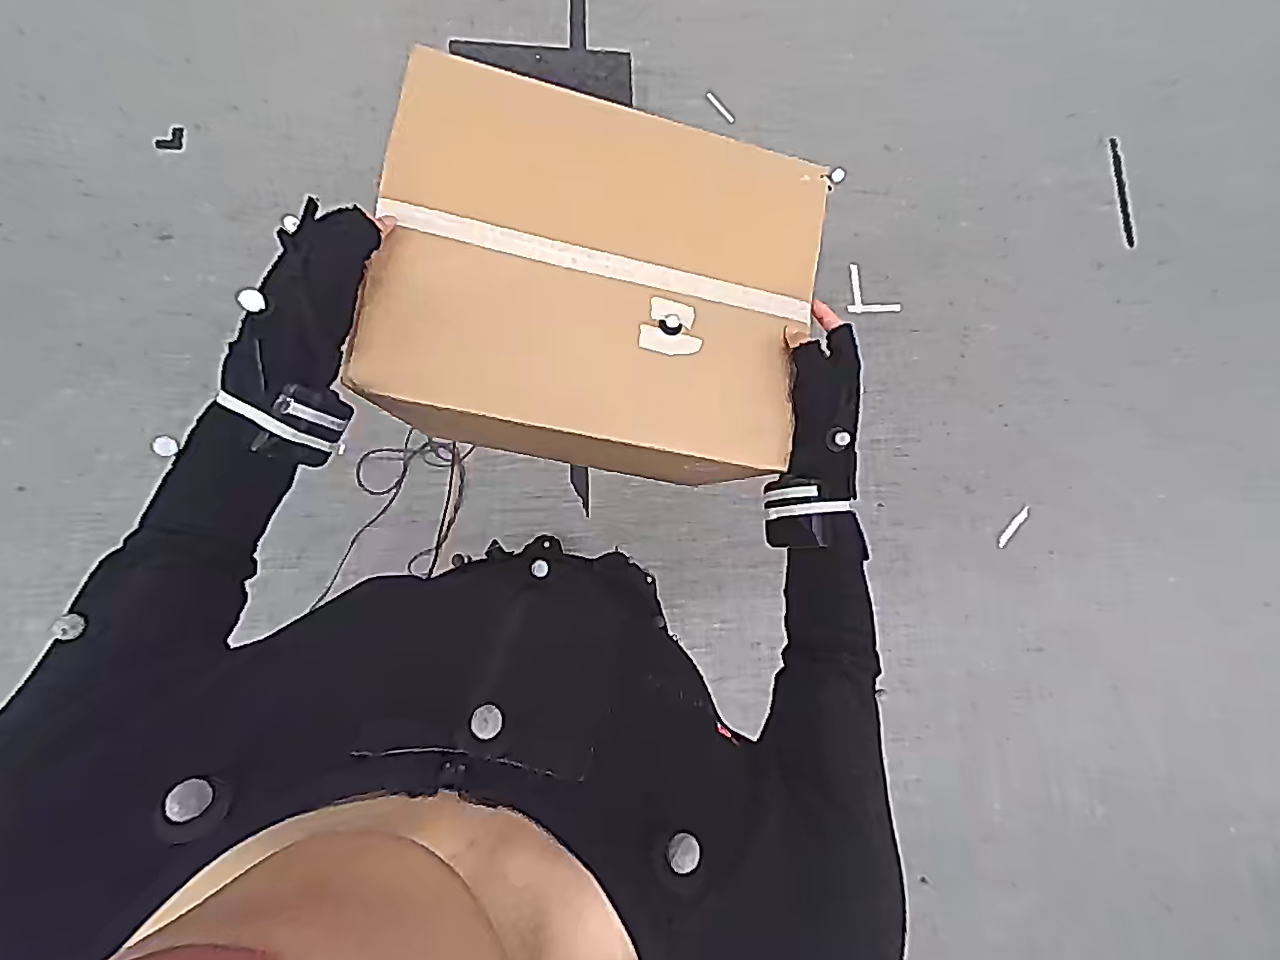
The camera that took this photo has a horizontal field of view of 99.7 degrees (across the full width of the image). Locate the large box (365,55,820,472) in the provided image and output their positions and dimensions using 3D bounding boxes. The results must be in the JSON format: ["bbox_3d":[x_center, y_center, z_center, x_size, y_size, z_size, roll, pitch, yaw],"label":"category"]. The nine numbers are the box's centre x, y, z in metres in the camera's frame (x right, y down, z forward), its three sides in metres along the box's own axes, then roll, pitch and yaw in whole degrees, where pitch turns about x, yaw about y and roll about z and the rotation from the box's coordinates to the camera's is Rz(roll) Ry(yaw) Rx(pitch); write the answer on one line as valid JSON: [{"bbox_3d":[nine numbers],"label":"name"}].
[{"bbox_3d":[-0.054,-0.200,0.658,0.408,0.320,0.320,10,85,-10],"label":"large box"}]
